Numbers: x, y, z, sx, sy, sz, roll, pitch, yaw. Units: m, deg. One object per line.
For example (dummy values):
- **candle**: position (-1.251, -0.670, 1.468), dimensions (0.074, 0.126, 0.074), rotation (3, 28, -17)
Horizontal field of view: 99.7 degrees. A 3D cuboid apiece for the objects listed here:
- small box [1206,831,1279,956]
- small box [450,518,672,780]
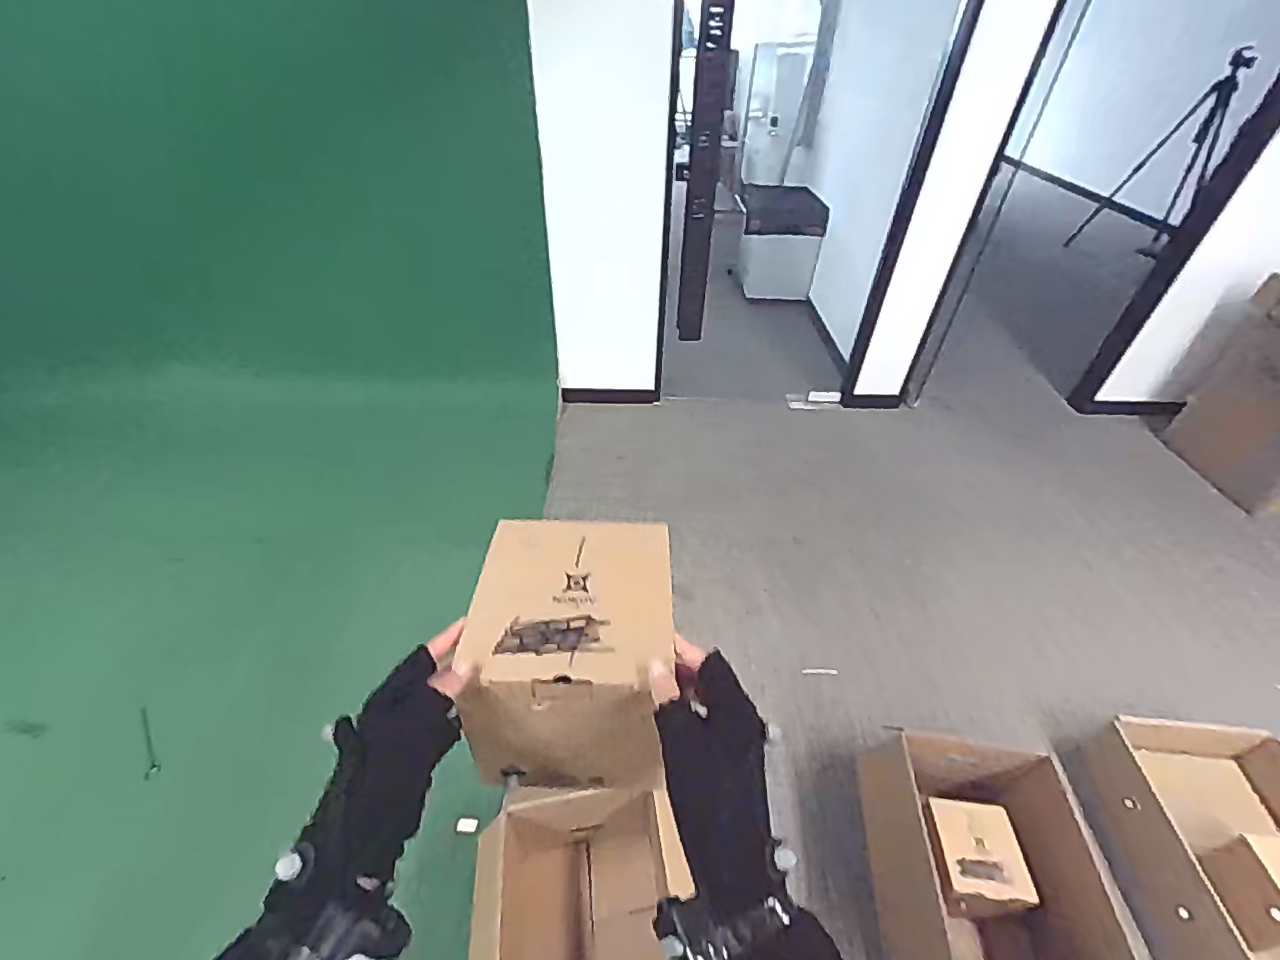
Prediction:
- **small box**: position (1.357, 0.858, 1.115), dimensions (0.168, 0.176, 0.179), rotation (4, 41, 2)
- **small box**: position (-0.055, 0.154, 0.501), dimensions (0.168, 0.176, 0.179), rotation (1, 37, 0)
